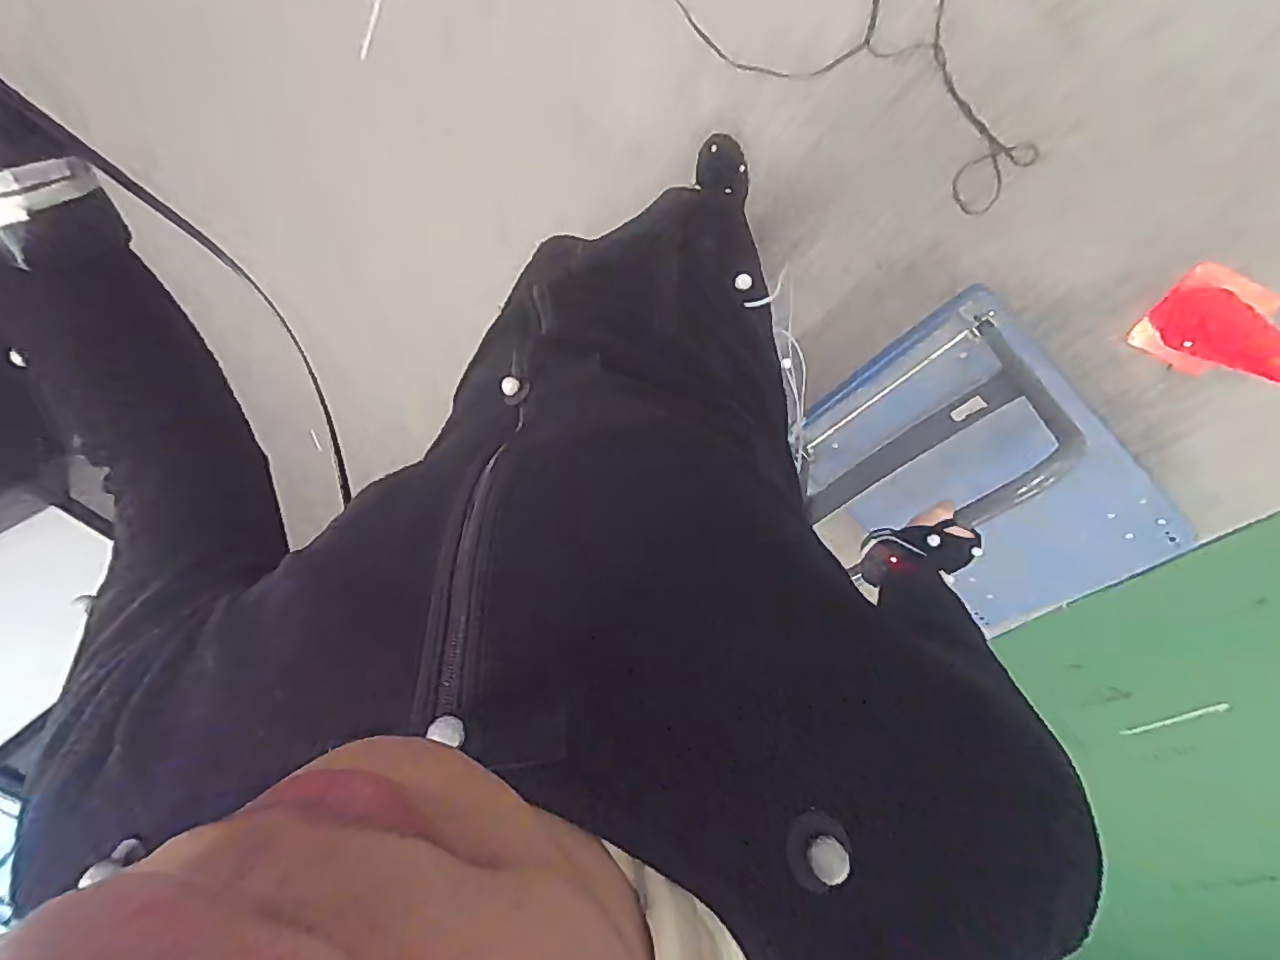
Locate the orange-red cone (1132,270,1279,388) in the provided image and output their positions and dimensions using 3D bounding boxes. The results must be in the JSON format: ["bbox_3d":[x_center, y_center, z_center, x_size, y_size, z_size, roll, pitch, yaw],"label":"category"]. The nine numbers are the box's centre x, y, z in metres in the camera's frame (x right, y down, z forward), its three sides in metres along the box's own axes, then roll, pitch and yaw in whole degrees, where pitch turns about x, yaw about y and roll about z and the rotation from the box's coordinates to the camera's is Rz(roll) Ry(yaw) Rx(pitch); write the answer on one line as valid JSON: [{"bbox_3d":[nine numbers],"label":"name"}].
[{"bbox_3d":[1.217,-0.252,1.068,0.198,0.360,0.199,26,125,-2],"label":"orange-red cone"}]
